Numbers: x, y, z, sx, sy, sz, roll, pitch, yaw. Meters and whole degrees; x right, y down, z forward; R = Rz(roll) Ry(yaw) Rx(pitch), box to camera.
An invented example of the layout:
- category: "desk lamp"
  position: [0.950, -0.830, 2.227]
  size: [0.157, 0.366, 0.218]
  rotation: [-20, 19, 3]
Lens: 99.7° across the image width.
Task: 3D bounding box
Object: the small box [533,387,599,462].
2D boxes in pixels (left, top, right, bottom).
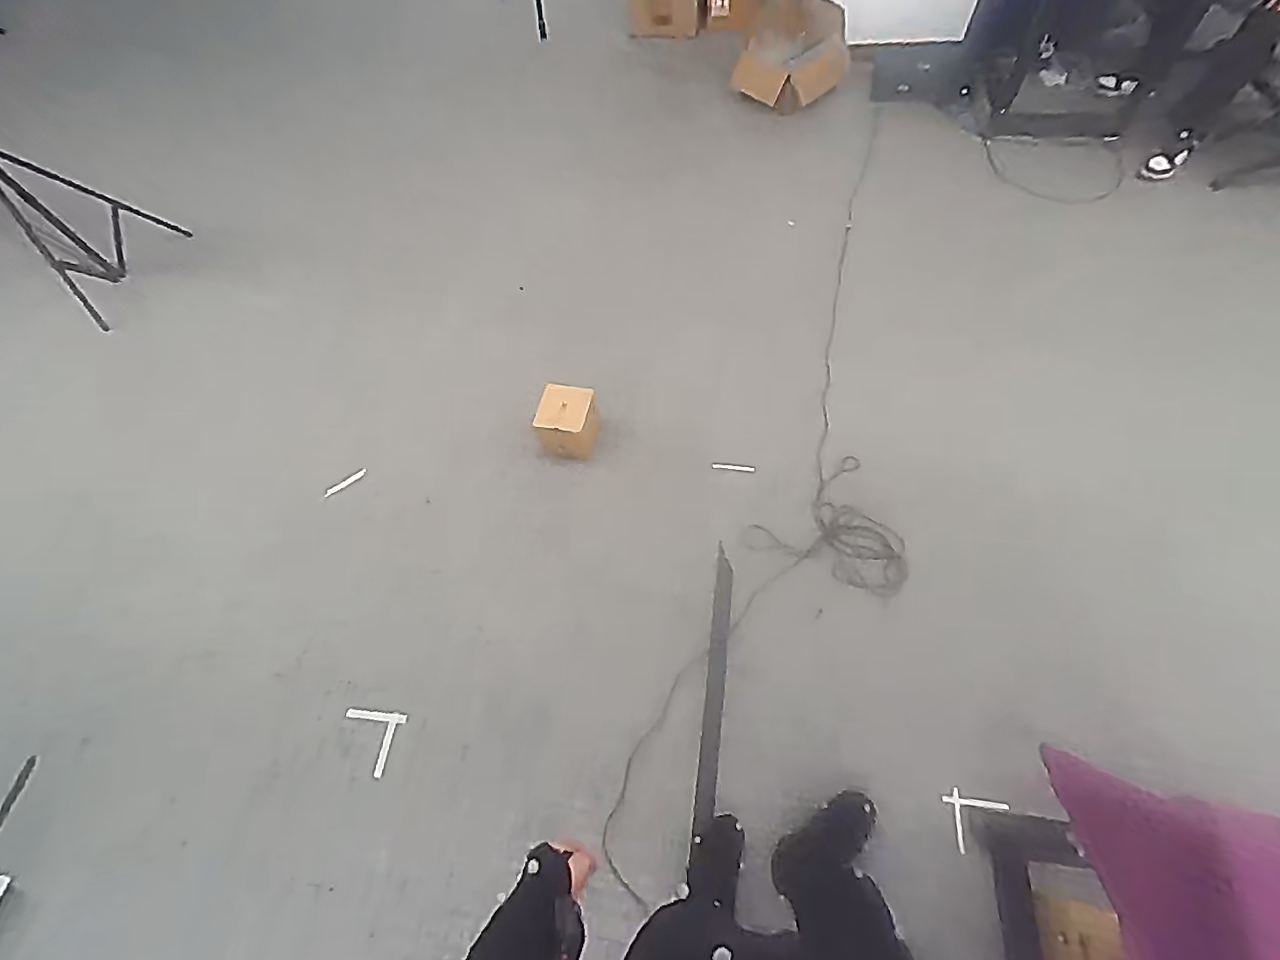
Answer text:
- category: "small box"
  position: [-0.240, -0.185, 1.810]
  size: [0.168, 0.176, 0.179]
  rotation: [9, 63, 10]
